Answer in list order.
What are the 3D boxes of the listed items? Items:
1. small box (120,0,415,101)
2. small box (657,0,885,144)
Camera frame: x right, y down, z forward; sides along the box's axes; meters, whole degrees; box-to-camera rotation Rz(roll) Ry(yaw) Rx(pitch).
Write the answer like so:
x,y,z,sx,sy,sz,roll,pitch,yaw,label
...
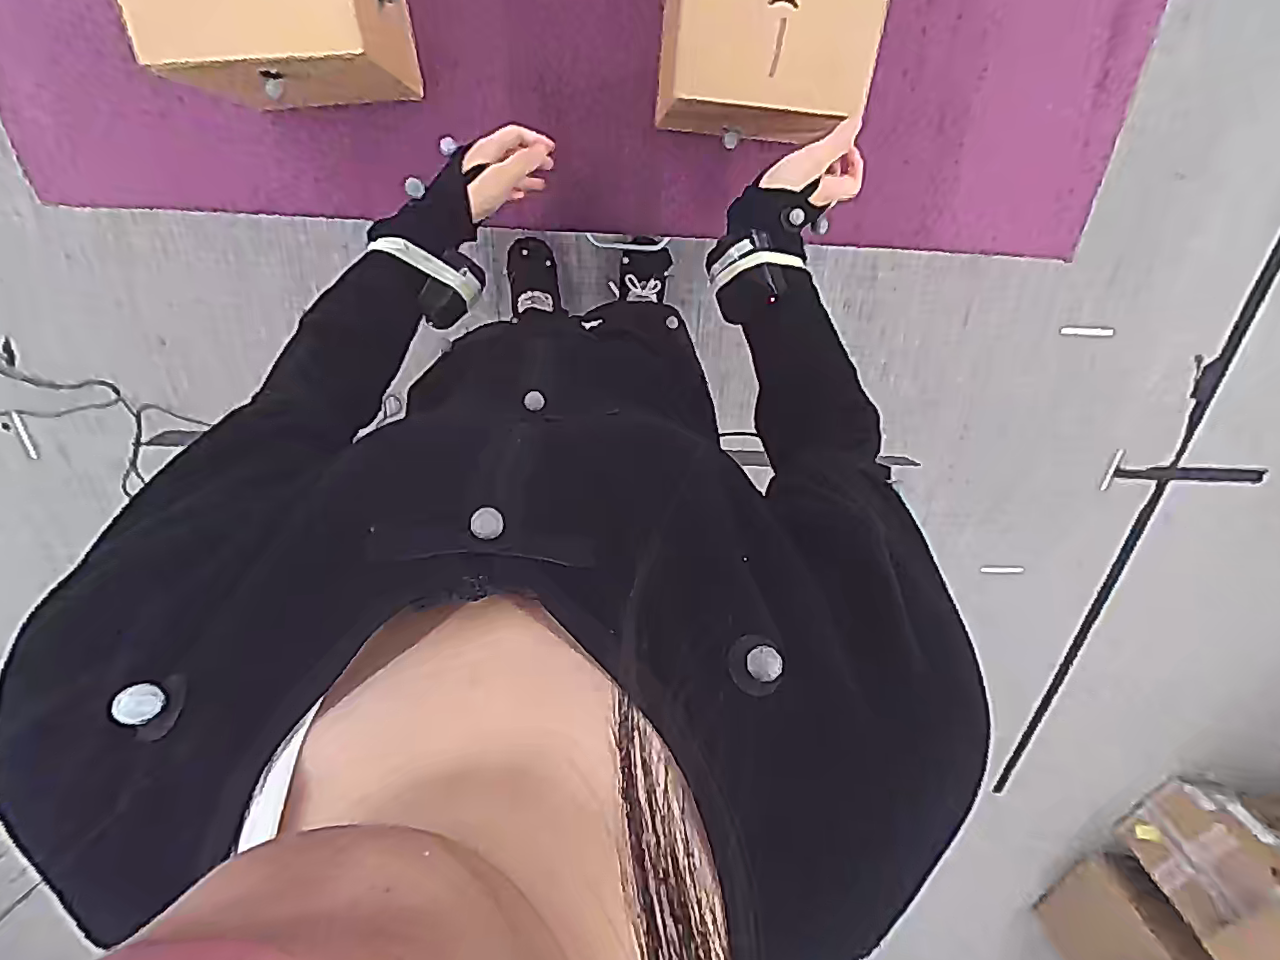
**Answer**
x,y,z,sx,sy,sz,roll,pitch,yaw,label
-0.310,-0.438,0.459,0.179,0.176,0.168,-4,116,-2,small box
0.109,-0.426,0.493,0.168,0.176,0.179,3,116,-5,small box
